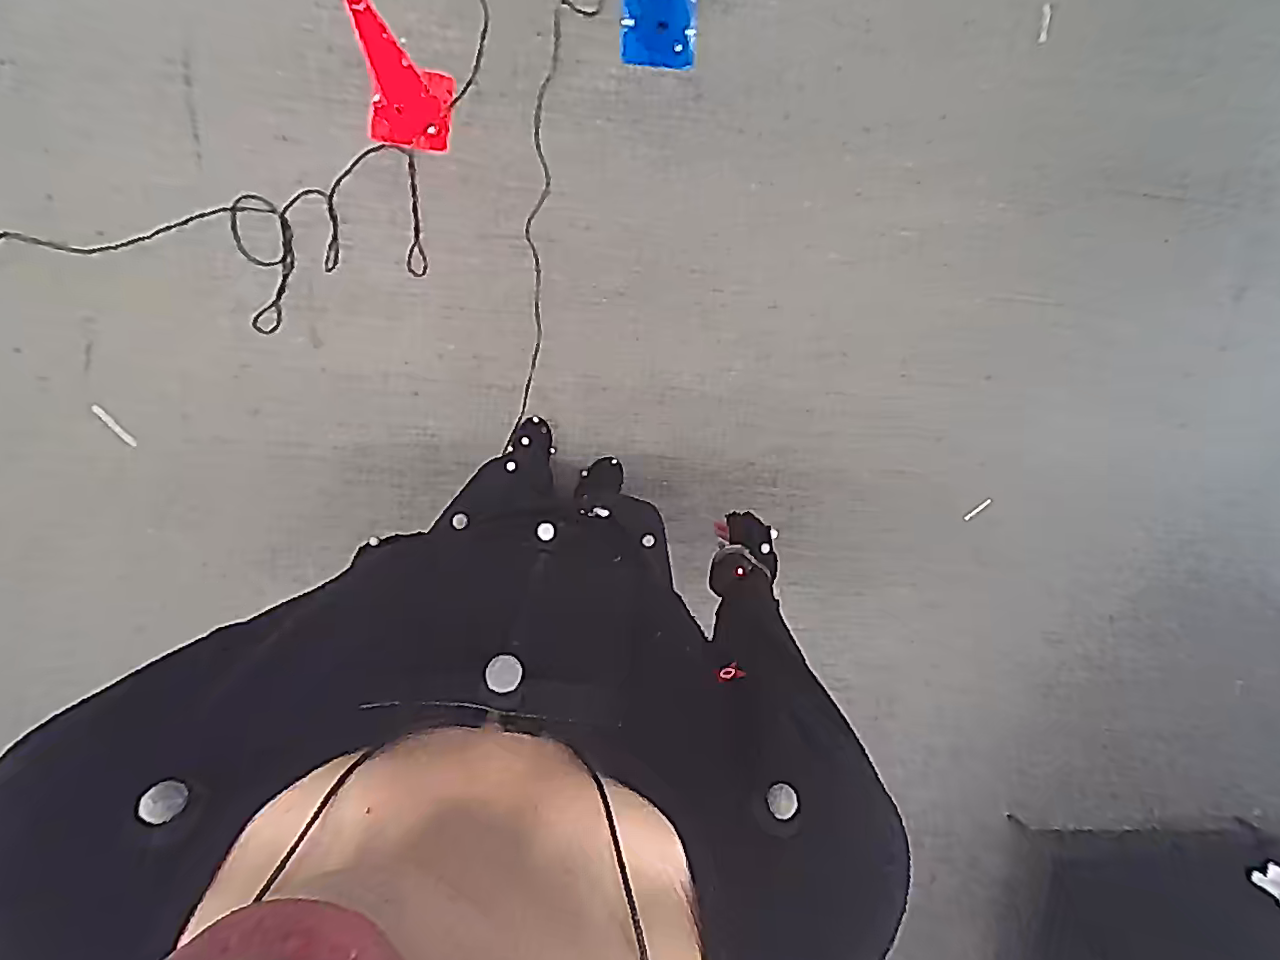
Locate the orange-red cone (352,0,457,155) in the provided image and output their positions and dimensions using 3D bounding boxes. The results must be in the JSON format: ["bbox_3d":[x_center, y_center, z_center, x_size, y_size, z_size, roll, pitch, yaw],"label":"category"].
[{"bbox_3d":[-0.568,-0.954,1.236,0.198,0.360,0.199,8,91,-6],"label":"orange-red cone"}]
